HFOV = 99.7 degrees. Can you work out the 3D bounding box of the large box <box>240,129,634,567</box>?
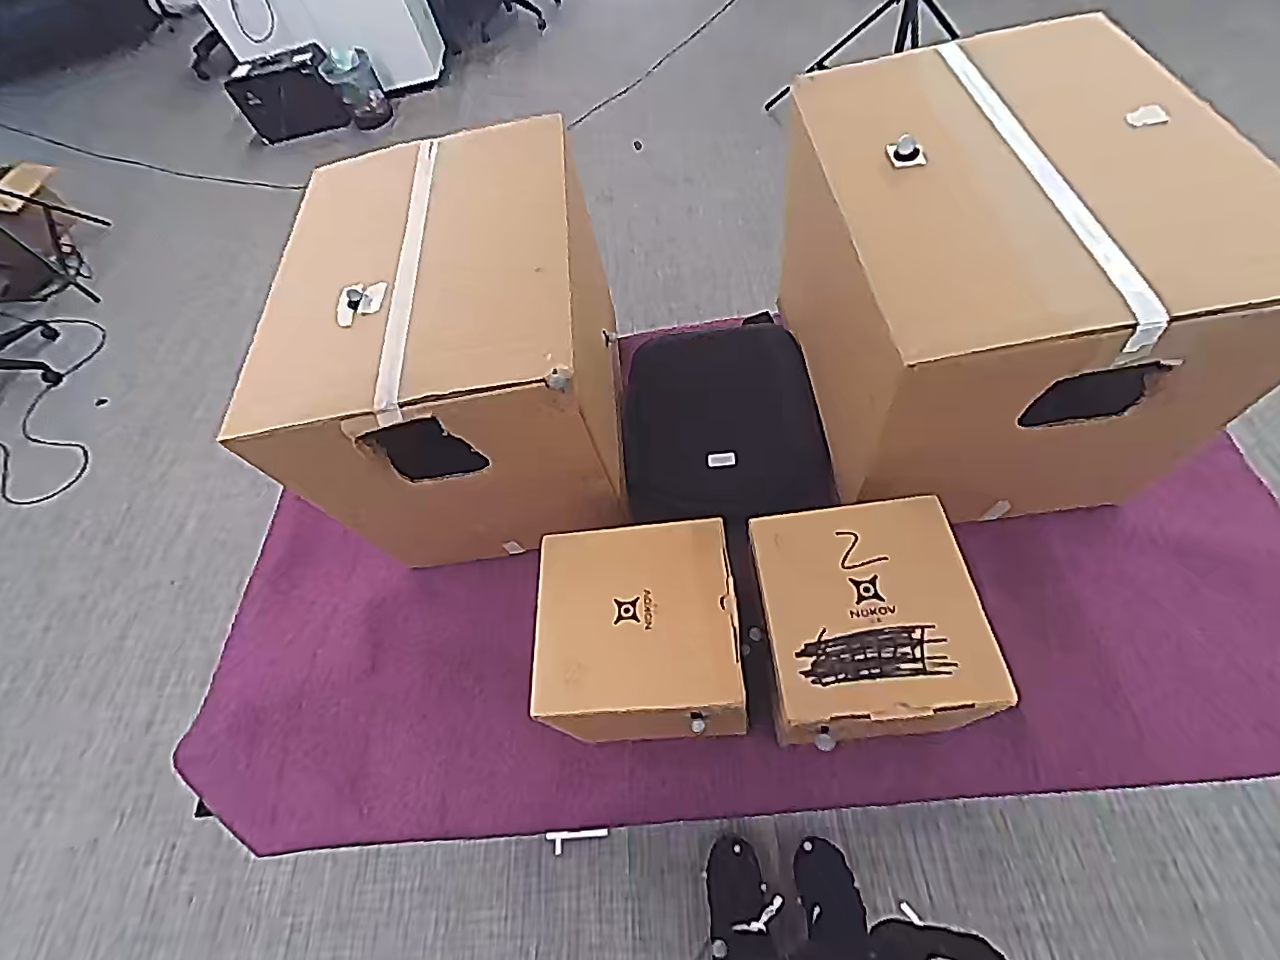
[{"bbox_3d":[-0.199,-0.147,0.677,0.320,0.320,0.408,-10,61,5],"label":"large box"}]
